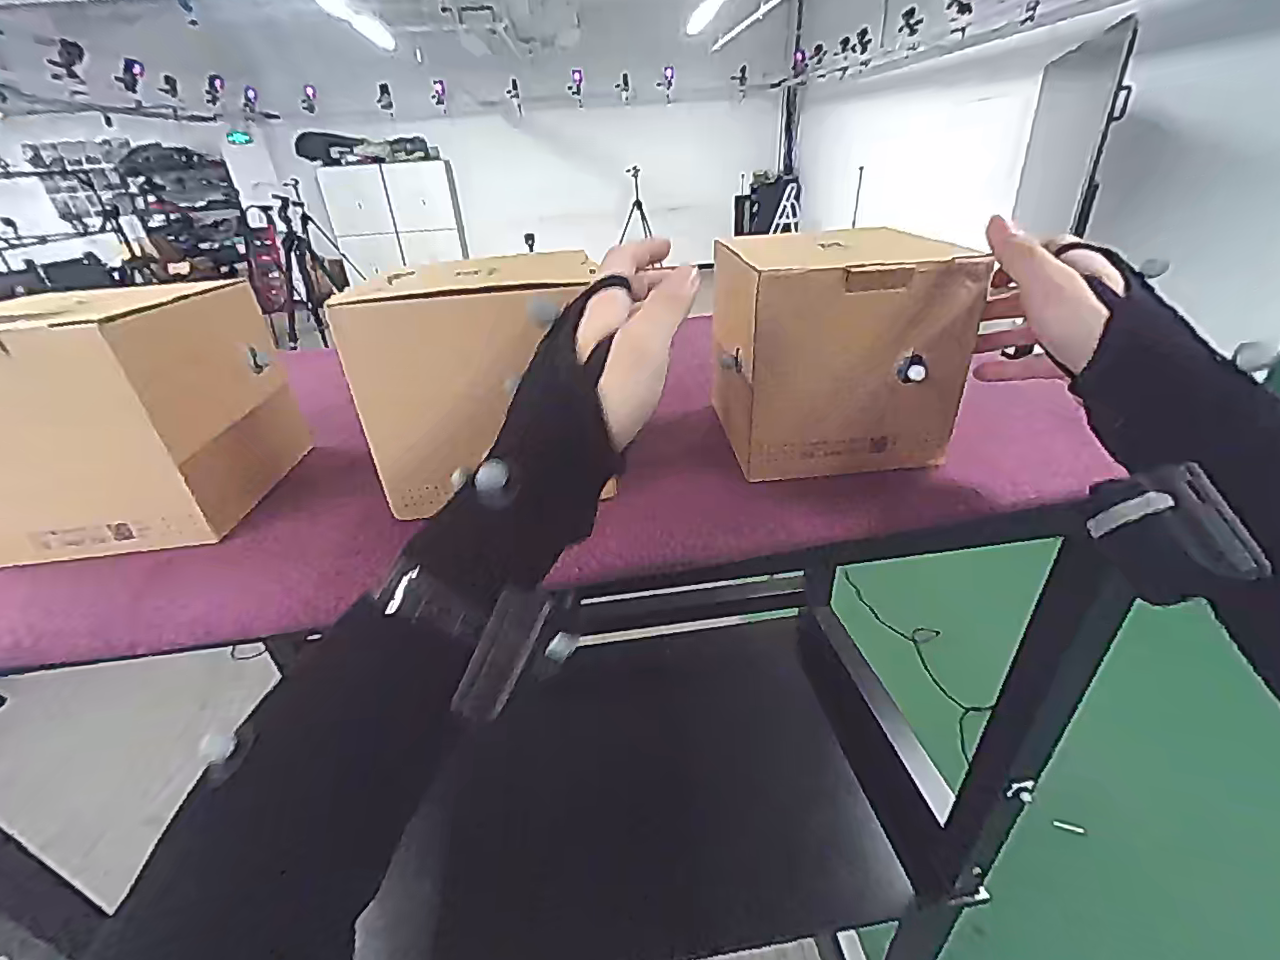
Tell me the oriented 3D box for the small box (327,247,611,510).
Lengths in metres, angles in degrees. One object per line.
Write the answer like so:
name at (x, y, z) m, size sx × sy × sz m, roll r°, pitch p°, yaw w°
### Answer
small box at (-0.116, -0.091, 0.451) m, size 0.179 × 0.176 × 0.168 m, roll -5°, pitch 29°, yaw -5°
